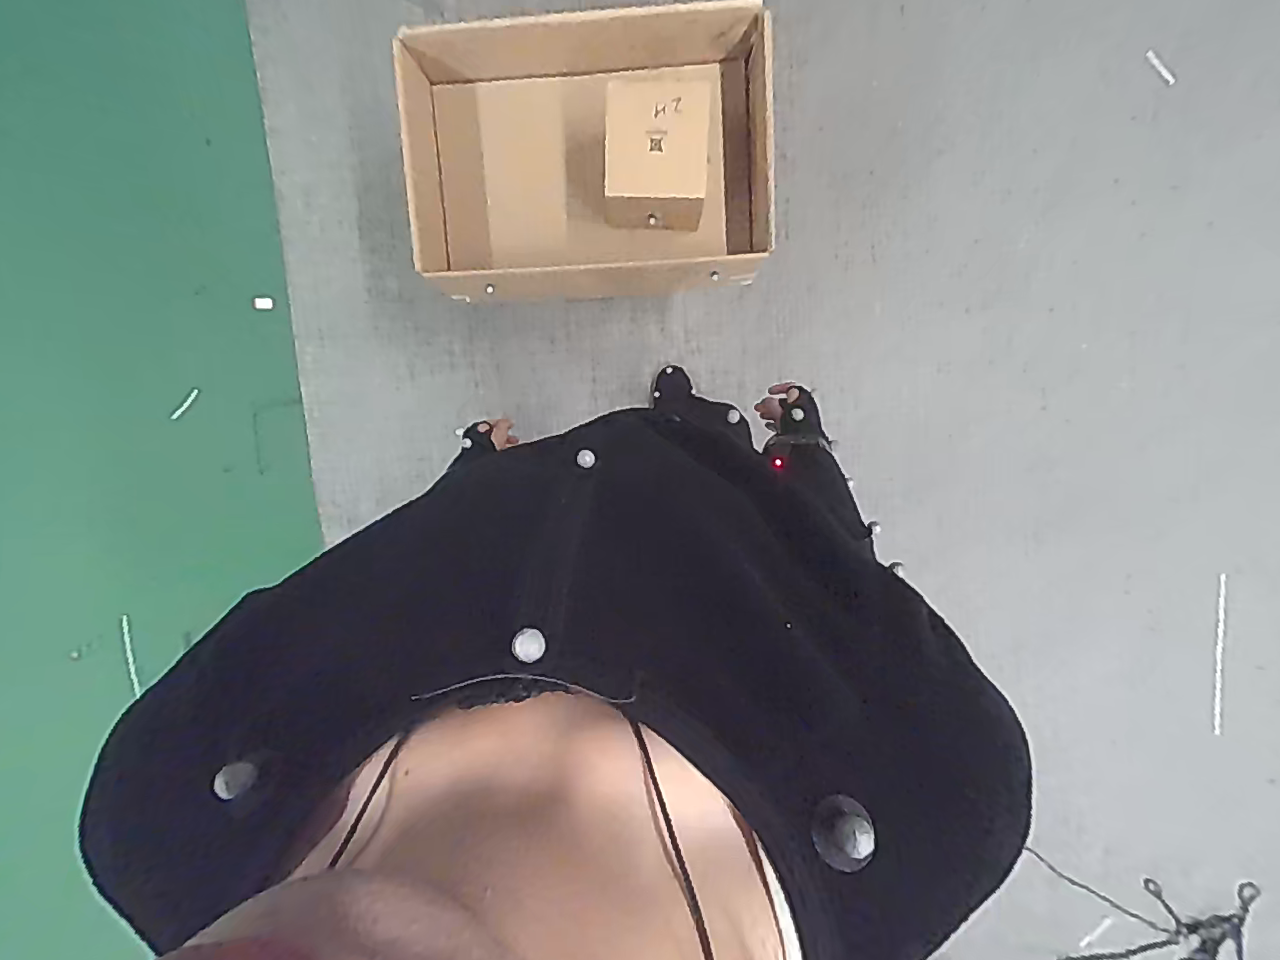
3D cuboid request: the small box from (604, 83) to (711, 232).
[{"bbox_3d":[0.032,-0.543,0.933,0.168,0.176,0.179,2,97,3],"label":"small box"}]
